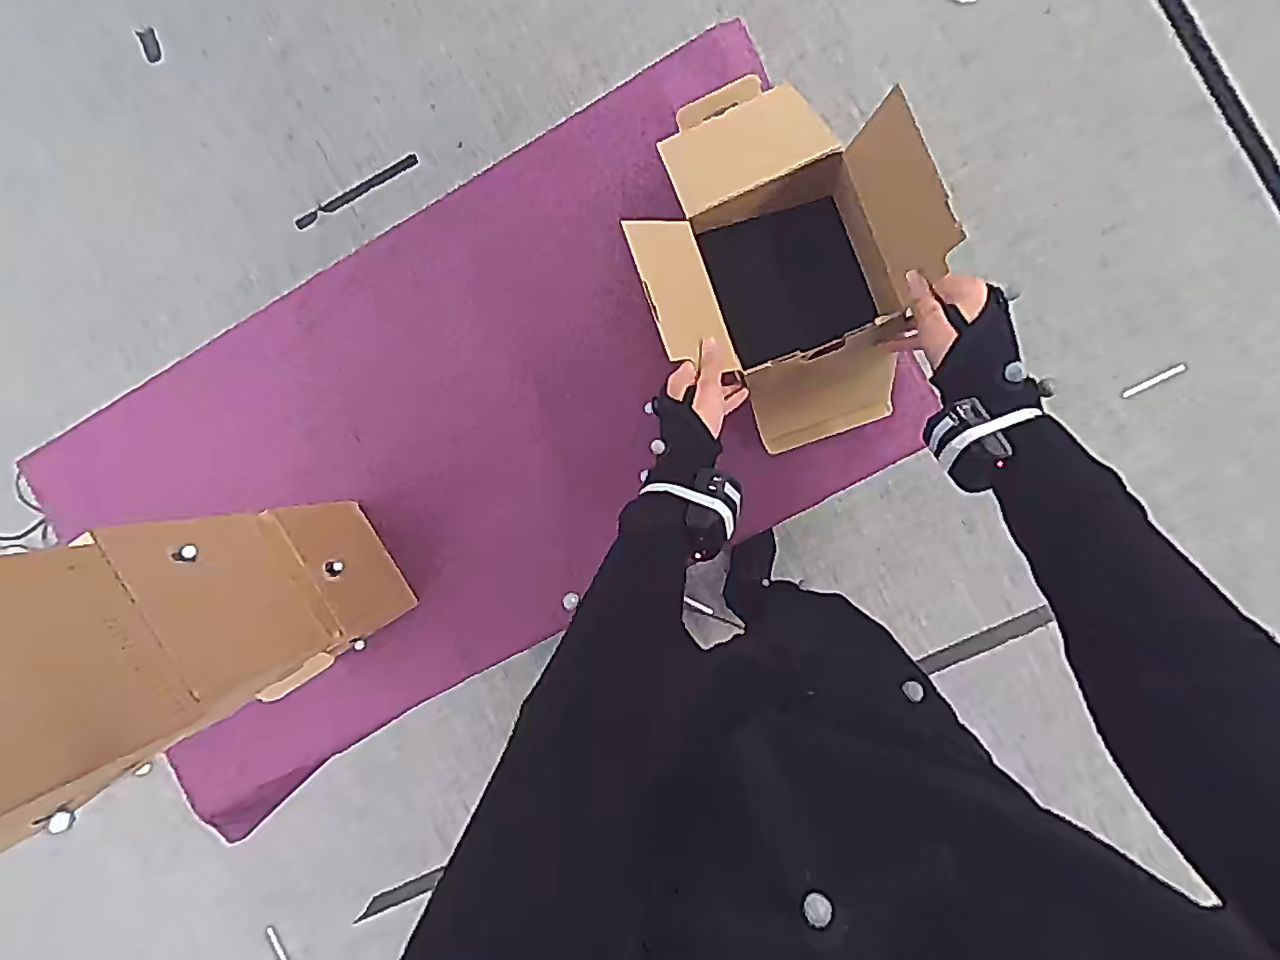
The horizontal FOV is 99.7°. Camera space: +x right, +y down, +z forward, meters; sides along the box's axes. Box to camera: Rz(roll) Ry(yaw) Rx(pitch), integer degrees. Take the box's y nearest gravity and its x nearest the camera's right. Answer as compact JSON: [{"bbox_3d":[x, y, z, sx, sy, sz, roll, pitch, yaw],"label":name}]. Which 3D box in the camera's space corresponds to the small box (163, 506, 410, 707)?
[{"bbox_3d":[-0.438,0.148,0.702,0.168,0.176,0.179,-32,88,5],"label":"small box"}]

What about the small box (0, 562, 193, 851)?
[{"bbox_3d":[-0.481,0.172,0.374,0.168,0.176,0.179,-35,87,6],"label":"small box"}]
